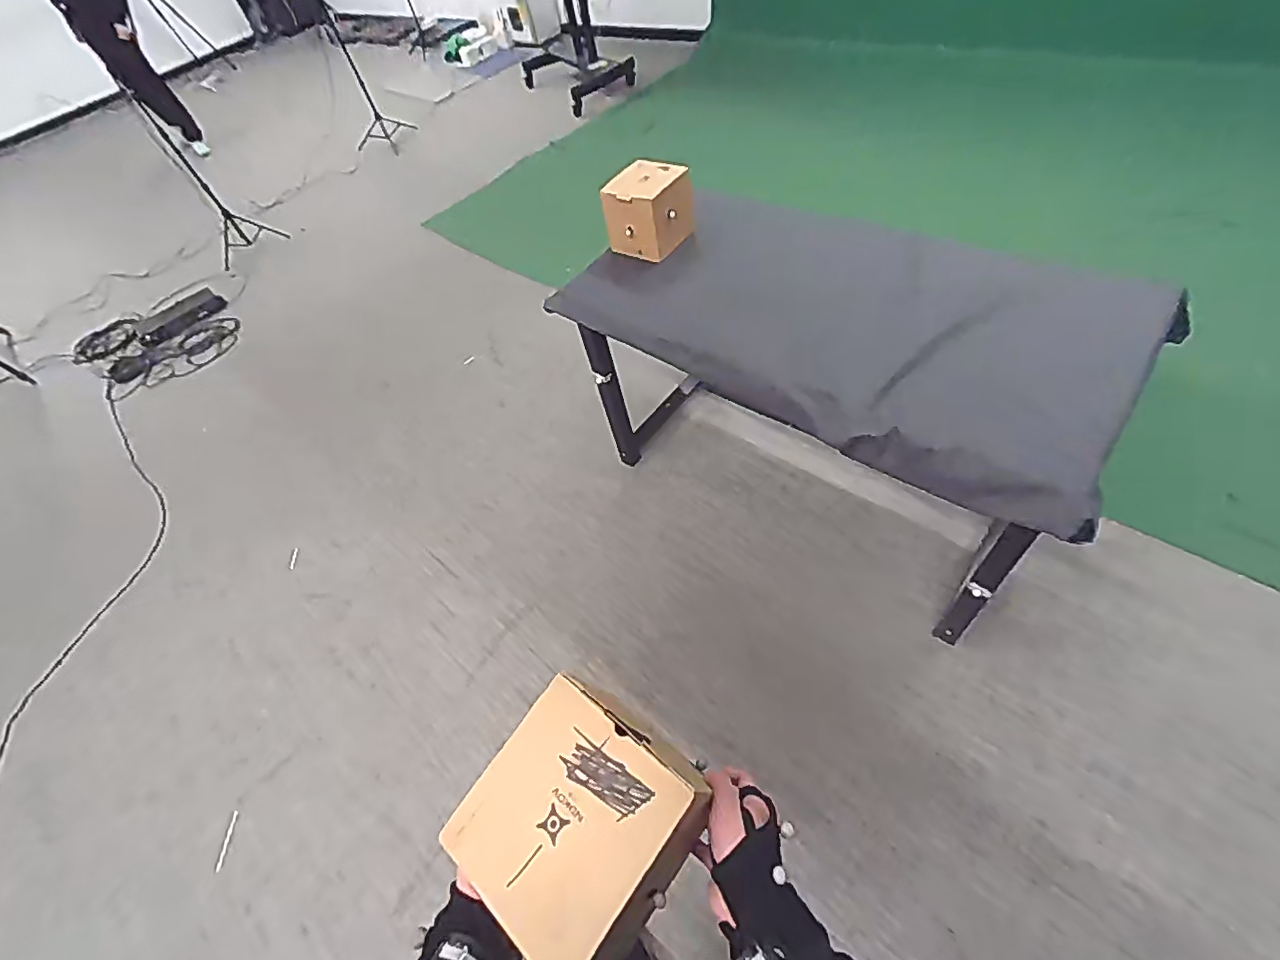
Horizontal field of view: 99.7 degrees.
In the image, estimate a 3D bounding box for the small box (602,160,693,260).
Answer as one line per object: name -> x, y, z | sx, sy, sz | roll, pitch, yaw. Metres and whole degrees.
small box -> 0.029, -0.712, 1.432 | 0.168, 0.176, 0.179 | 26, 64, 27
